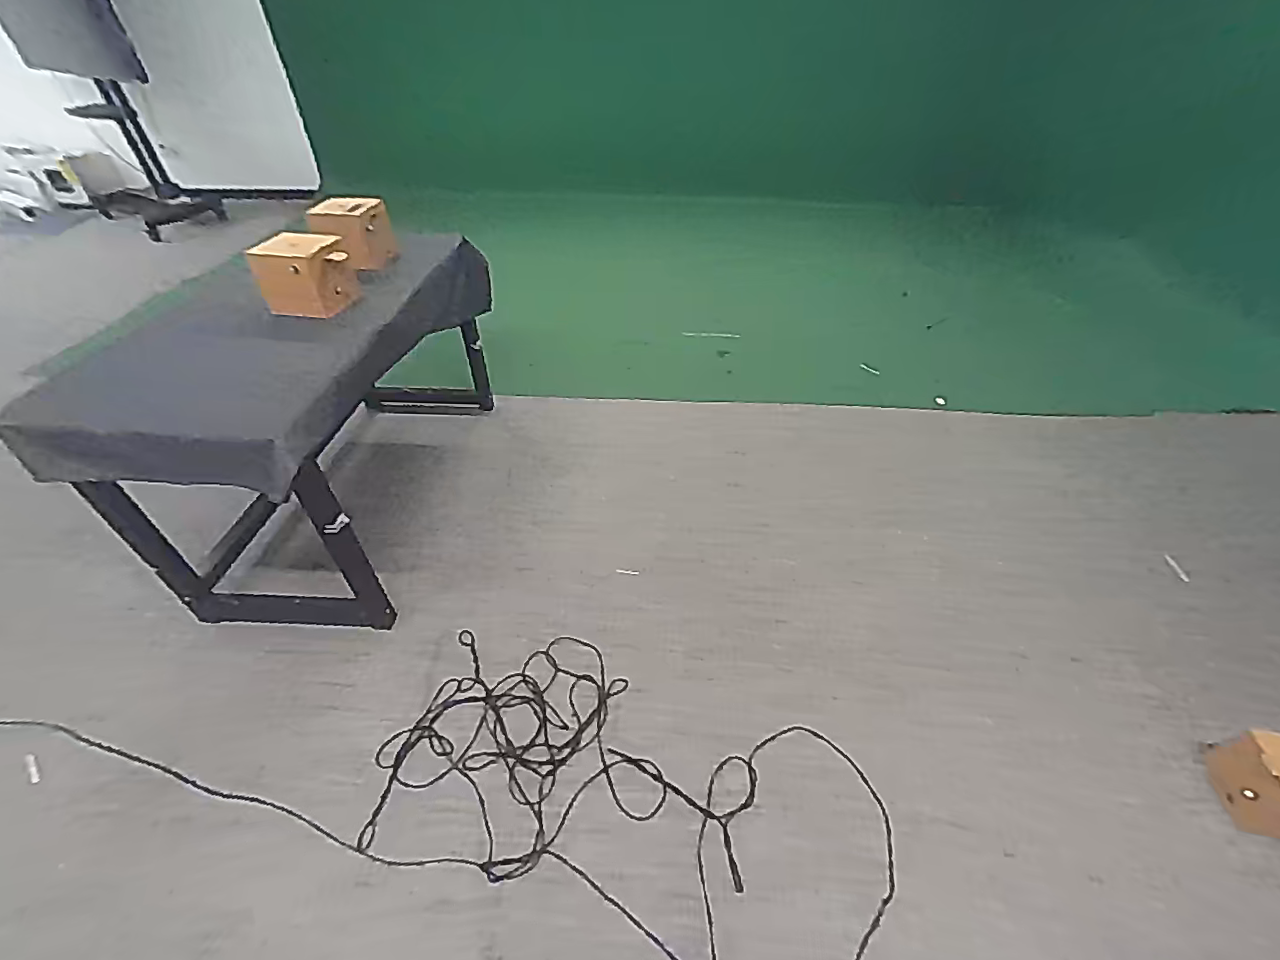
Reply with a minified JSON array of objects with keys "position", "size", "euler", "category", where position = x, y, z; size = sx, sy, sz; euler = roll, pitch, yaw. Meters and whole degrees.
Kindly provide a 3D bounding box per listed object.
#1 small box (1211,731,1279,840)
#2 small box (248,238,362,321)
[{"position":[1.427,0.684,1.185],"size":[0.179,0.176,0.168],"euler":[9,44,9],"category":"small box"},{"position":[-0.907,-0.550,1.482],"size":[0.179,0.176,0.168],"euler":[7,41,7],"category":"small box"}]
